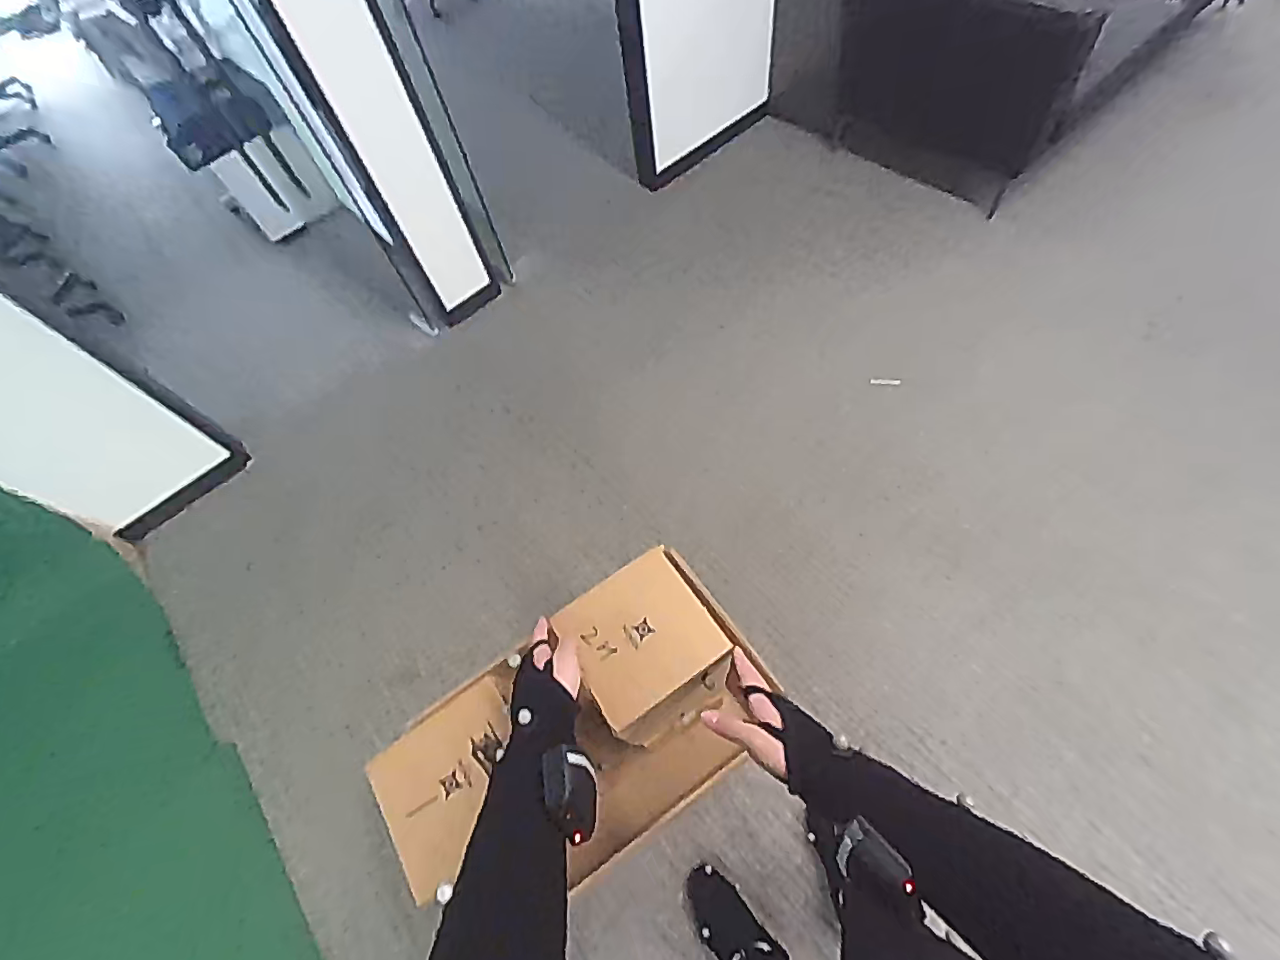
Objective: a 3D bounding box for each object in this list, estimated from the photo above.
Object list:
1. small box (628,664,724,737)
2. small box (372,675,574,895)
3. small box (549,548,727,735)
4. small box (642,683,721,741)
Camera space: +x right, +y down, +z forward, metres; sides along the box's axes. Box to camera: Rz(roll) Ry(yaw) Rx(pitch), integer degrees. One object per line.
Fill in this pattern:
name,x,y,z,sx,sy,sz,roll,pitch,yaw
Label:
small box,0.022,0.305,0.902,0.179,0.176,0.168,-31,62,-8
small box,-0.201,0.385,0.705,0.179,0.176,0.168,-35,62,-10
small box,0.002,0.229,0.754,0.179,0.176,0.168,-32,62,-10
small box,0.045,0.380,1.043,0.168,0.176,0.179,-30,61,-8
